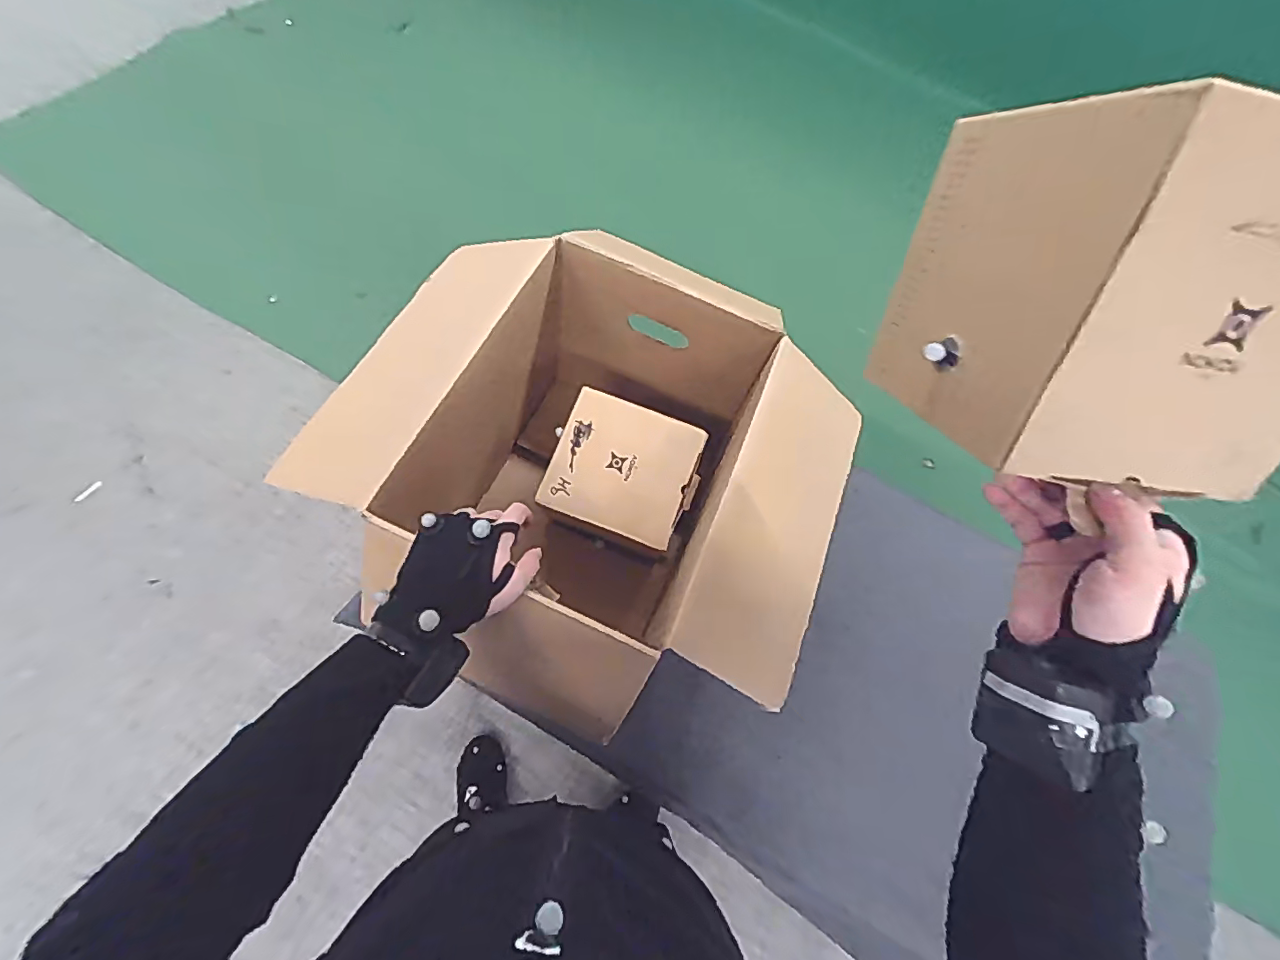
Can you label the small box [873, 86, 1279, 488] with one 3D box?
[{"bbox_3d":[0.277,-0.116,0.341,0.168,0.179,0.176,5,28,-9],"label":"small box"}]
